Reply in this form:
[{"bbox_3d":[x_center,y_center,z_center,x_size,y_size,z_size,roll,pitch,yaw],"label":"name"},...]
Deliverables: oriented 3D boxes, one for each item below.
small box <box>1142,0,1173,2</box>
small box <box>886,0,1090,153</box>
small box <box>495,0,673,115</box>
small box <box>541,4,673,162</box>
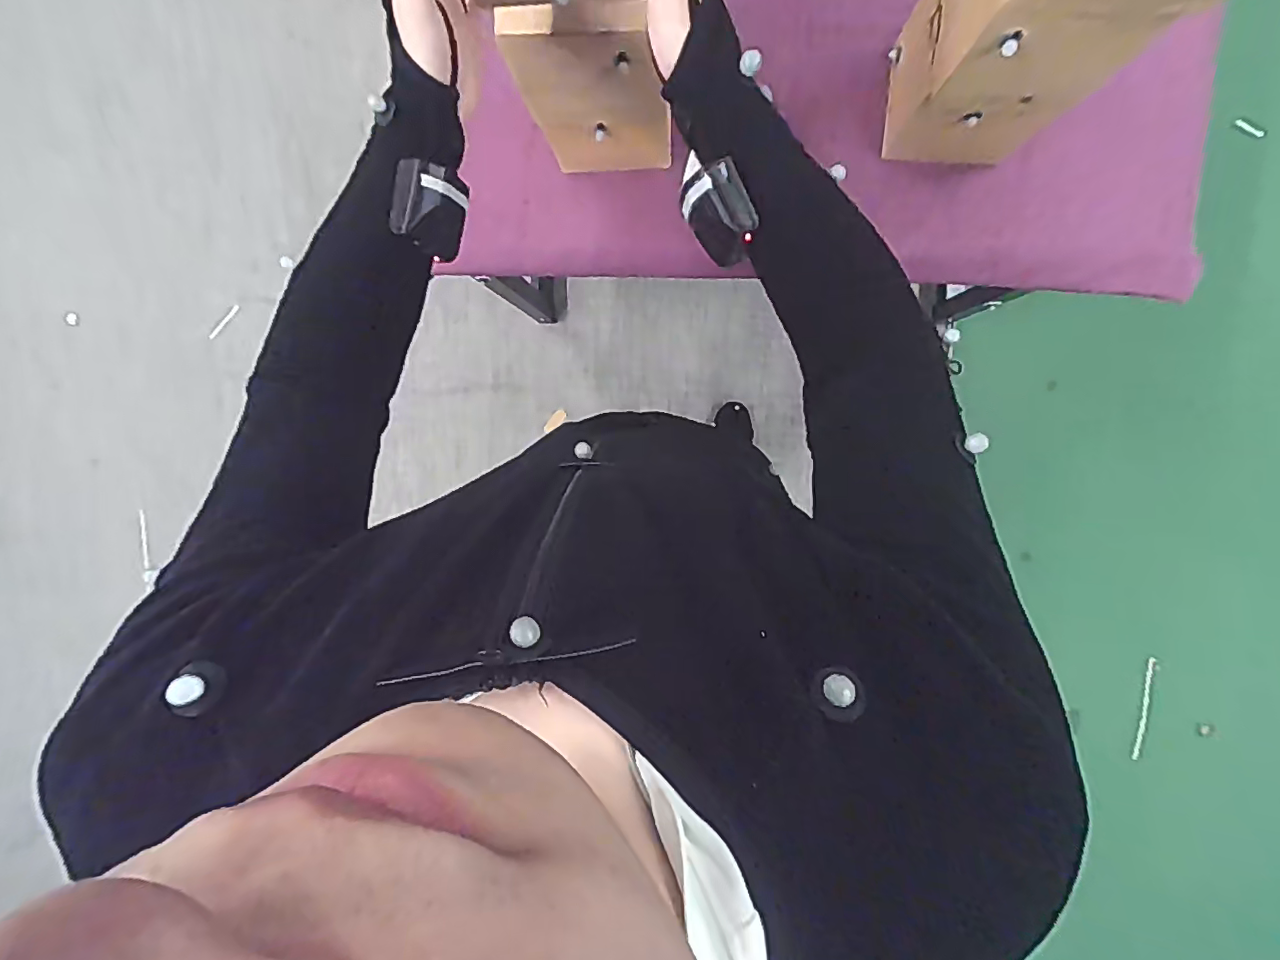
[{"bbox_3d":[0.431,-0.513,0.409,0.179,0.176,0.168,7,98,4],"label":"small box"},{"bbox_3d":[0.455,-0.568,0.731,0.179,0.176,0.168,5,97,4],"label":"small box"},{"bbox_3d":[-0.052,-0.543,0.609,0.179,0.176,0.168,2,97,5],"label":"small box"},{"bbox_3d":[-0.041,-0.577,0.771,0.179,0.176,0.168,0,97,5],"label":"small box"}]
